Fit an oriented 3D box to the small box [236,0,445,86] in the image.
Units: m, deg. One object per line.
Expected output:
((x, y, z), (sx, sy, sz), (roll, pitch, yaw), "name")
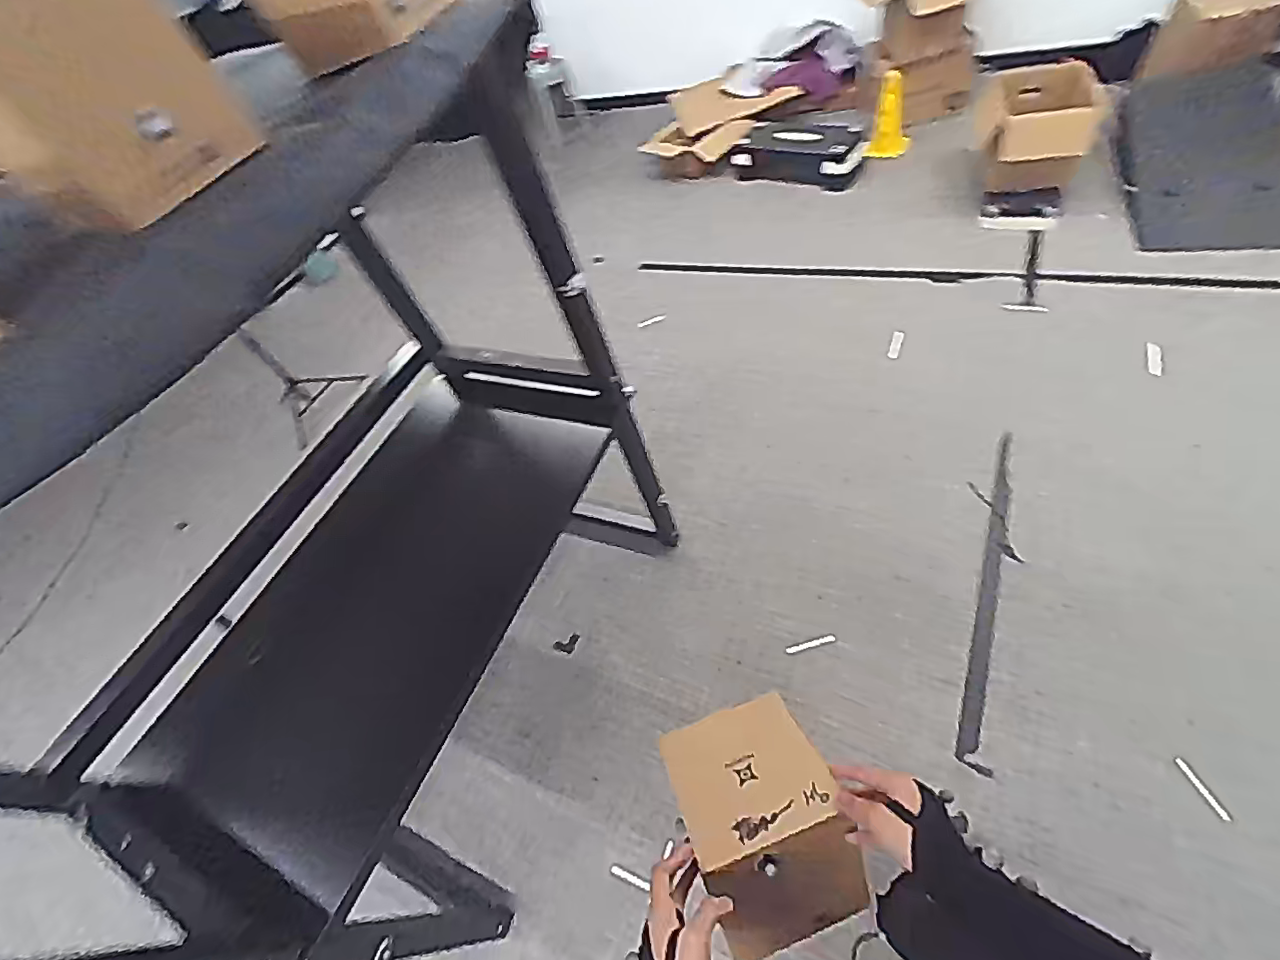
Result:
((-0.372, -0.617, 0.647), (0.179, 0.176, 0.168), (4, 57, 27), "small box")

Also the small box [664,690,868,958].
((0.141, 0.392, 0.634), (0.168, 0.176, 0.179), (-19, 23, -5), "small box")
